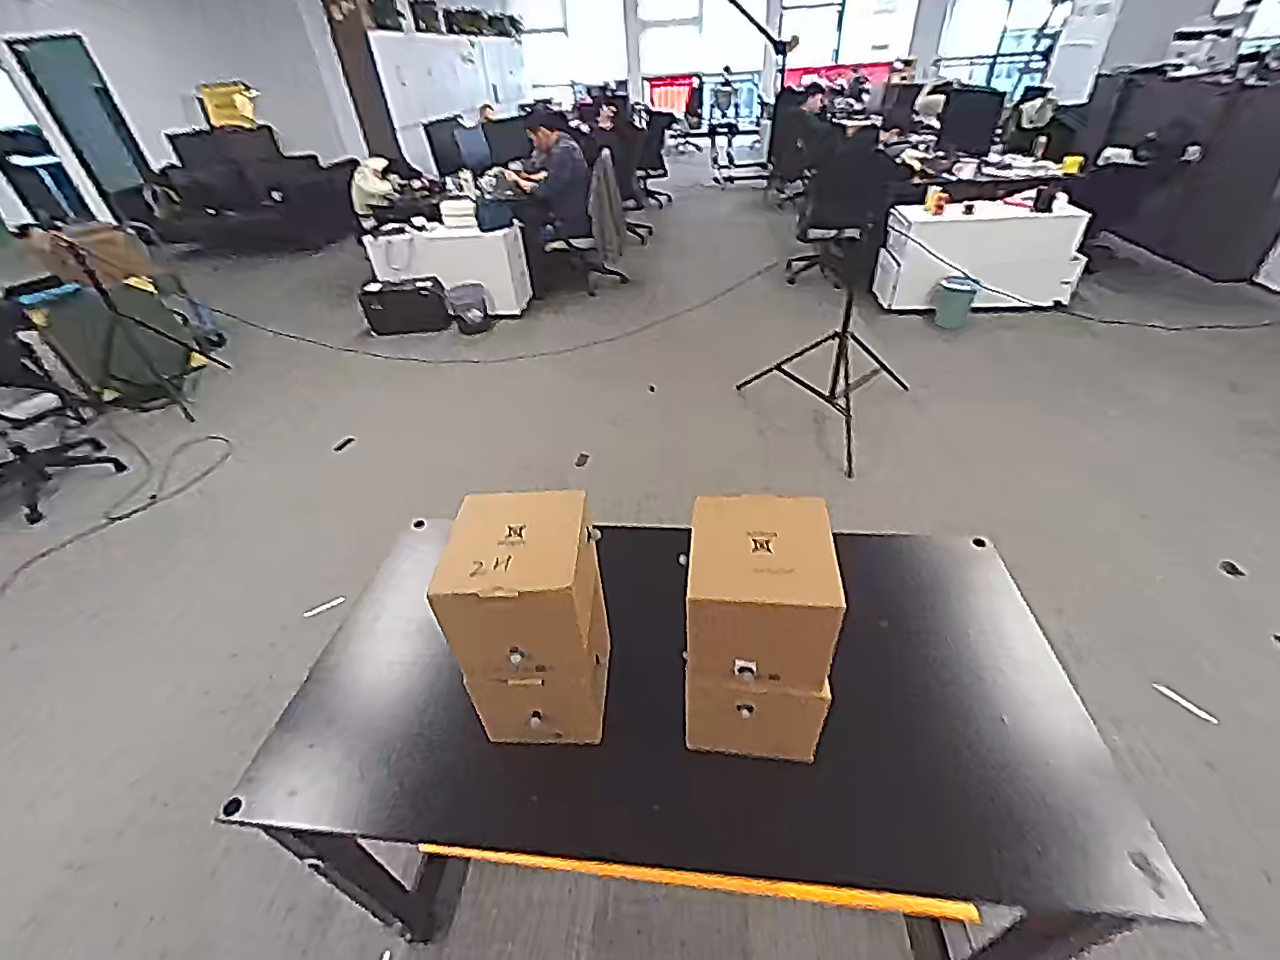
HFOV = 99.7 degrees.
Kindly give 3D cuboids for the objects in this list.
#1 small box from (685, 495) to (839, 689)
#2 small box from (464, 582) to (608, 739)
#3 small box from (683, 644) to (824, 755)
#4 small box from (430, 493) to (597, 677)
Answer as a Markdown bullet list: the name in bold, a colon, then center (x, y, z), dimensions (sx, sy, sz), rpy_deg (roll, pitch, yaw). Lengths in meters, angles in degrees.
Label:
- **small box**: center (0.144, 0.138, 0.688), dimensions (0.168, 0.176, 0.179), rpy_deg (0, 39, 8)
- **small box**: center (-0.141, 0.270, 0.815), dimensions (0.168, 0.176, 0.179), rpy_deg (-2, 38, 4)
- **small box**: center (0.156, 0.272, 0.780), dimensions (0.179, 0.176, 0.168), rpy_deg (2, 38, 8)
- **small box**: center (-0.151, 0.137, 0.717), dimensions (0.168, 0.176, 0.179), rpy_deg (-3, 38, 3)
